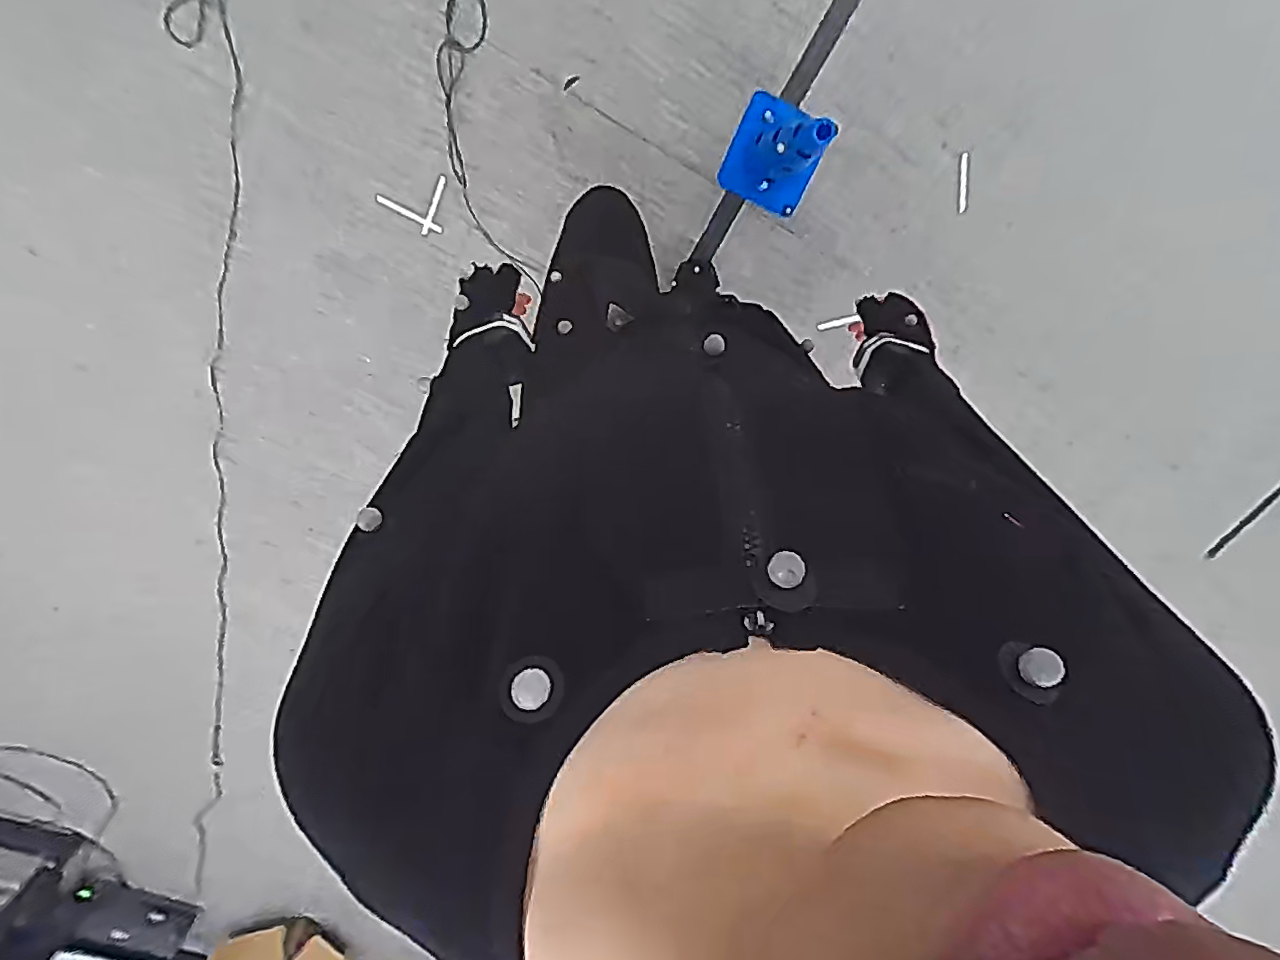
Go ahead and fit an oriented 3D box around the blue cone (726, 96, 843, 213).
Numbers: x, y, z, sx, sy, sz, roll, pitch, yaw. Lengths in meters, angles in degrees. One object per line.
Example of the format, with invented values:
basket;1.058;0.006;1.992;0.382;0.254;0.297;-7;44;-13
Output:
blue cone;0.308;-0.662;1.072;0.192;0.380;0.193;23;112;-12
